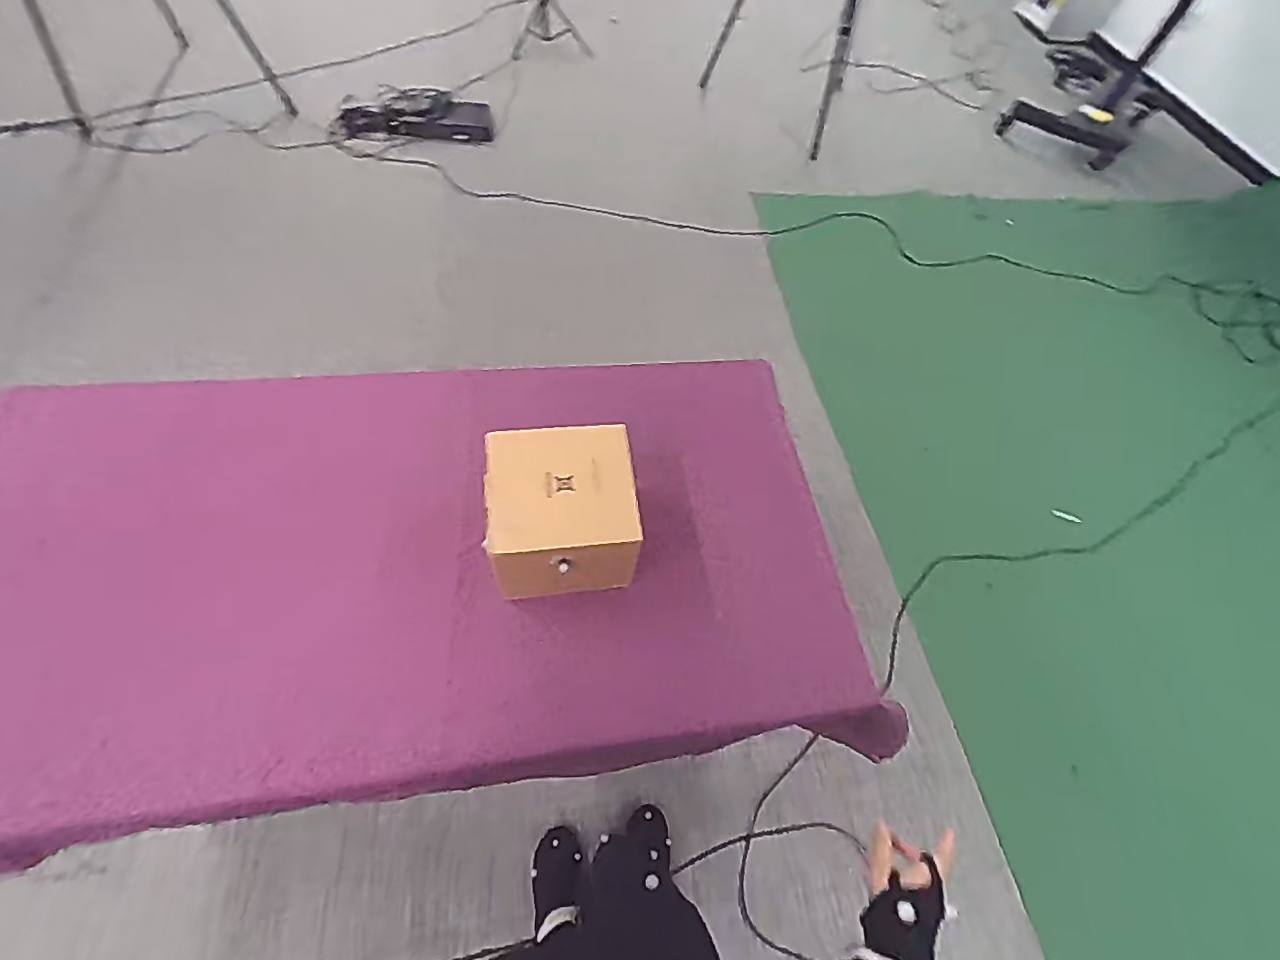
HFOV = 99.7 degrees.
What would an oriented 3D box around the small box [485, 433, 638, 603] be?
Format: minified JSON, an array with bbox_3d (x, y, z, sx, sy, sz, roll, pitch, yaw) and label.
[{"bbox_3d":[-0.104,0.055,0.717,0.179,0.176,0.168,-4,60,-10],"label":"small box"}]
